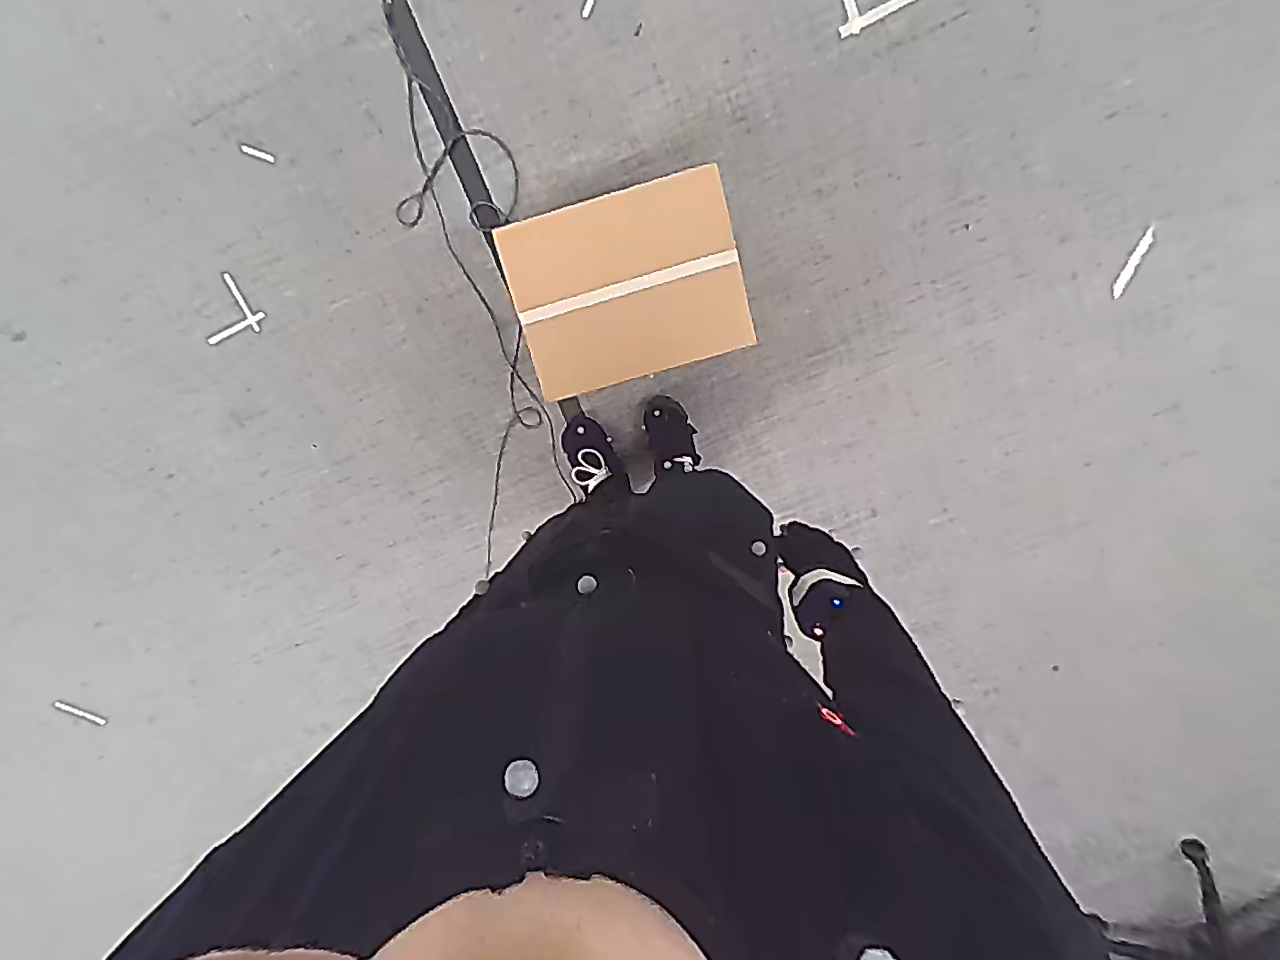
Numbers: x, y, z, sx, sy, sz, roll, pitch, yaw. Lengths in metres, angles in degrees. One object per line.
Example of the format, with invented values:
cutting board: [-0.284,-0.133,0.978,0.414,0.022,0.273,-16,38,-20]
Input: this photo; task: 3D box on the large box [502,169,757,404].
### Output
large box: [-0.015,-0.372,1.115,0.408,0.320,0.320,-15,104,4]
